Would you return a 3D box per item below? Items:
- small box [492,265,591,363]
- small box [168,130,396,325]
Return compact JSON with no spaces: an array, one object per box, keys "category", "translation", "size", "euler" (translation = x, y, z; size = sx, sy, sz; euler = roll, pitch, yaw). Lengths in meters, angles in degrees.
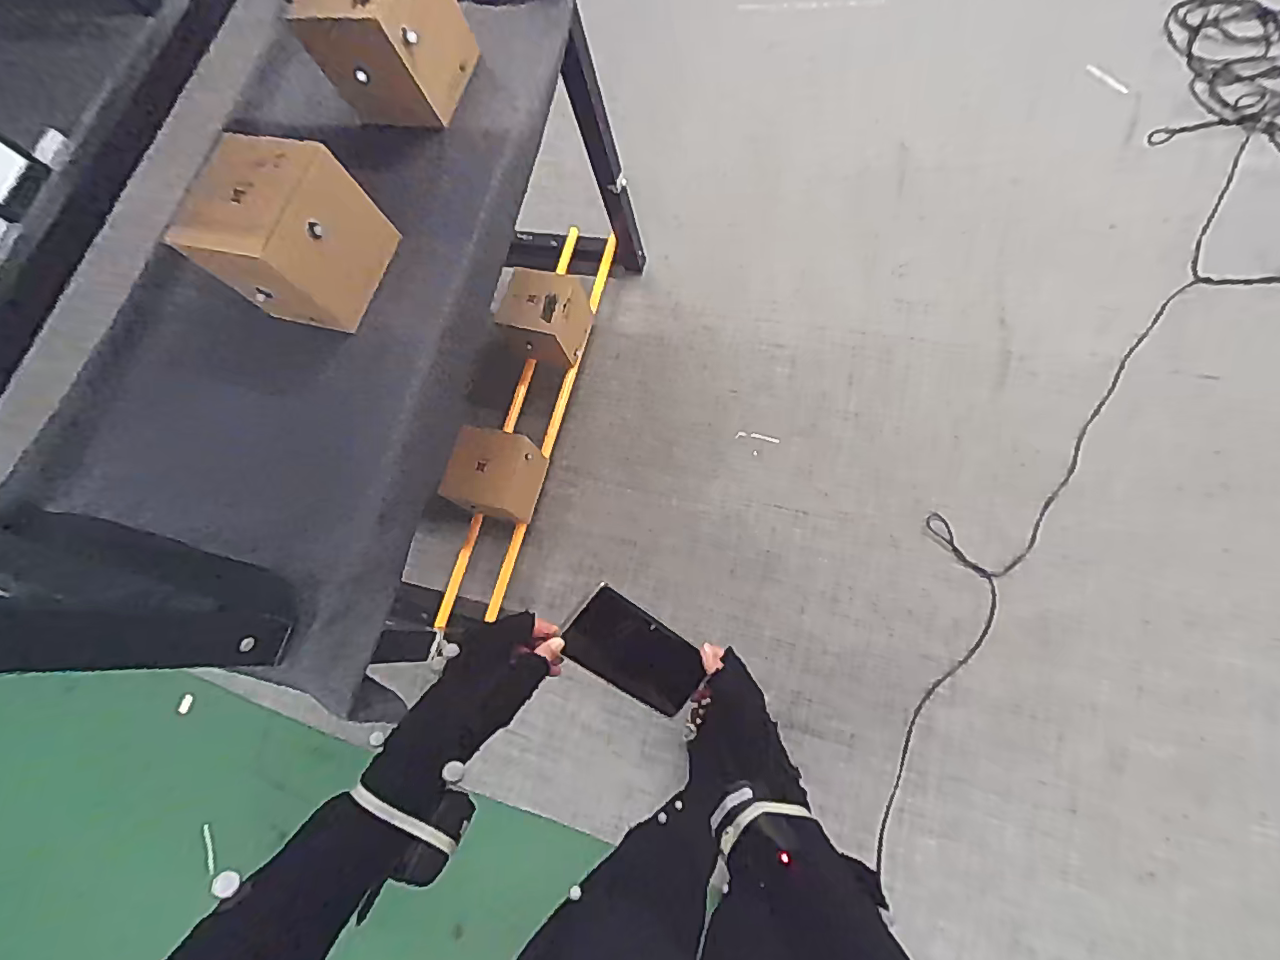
[{"category":"small box","translation":[-0.243,-0.419,1.391],"size":[0.179,0.176,0.168],"euler":[15,77,15]},{"category":"small box","translation":[-0.476,-0.340,0.749],"size":[0.168,0.176,0.179],"euler":[15,77,15]}]
